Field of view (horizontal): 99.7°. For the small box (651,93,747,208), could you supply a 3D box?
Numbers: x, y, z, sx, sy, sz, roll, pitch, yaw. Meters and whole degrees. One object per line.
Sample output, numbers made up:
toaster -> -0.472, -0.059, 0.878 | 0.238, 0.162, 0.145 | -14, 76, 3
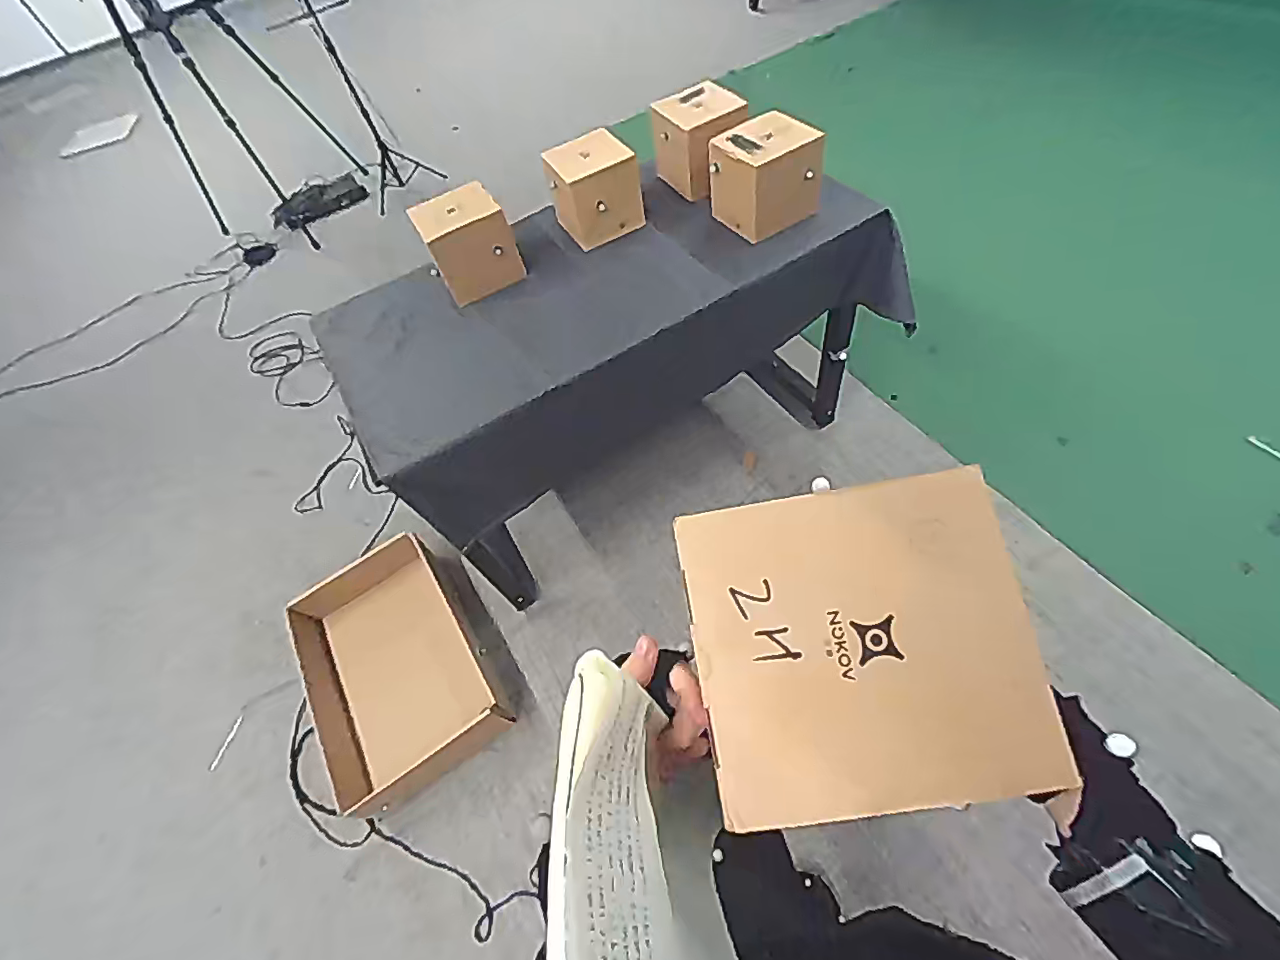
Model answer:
small box -> 0.145, -0.800, 1.320 | 0.168, 0.176, 0.179 | -28, 56, -8

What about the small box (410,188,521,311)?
small box -> -0.386, -0.519, 1.226 | 0.179, 0.176, 0.168 | -28, 55, -10

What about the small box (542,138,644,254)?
small box -> -0.106, -0.661, 1.275 | 0.168, 0.176, 0.179 | -28, 55, -9
